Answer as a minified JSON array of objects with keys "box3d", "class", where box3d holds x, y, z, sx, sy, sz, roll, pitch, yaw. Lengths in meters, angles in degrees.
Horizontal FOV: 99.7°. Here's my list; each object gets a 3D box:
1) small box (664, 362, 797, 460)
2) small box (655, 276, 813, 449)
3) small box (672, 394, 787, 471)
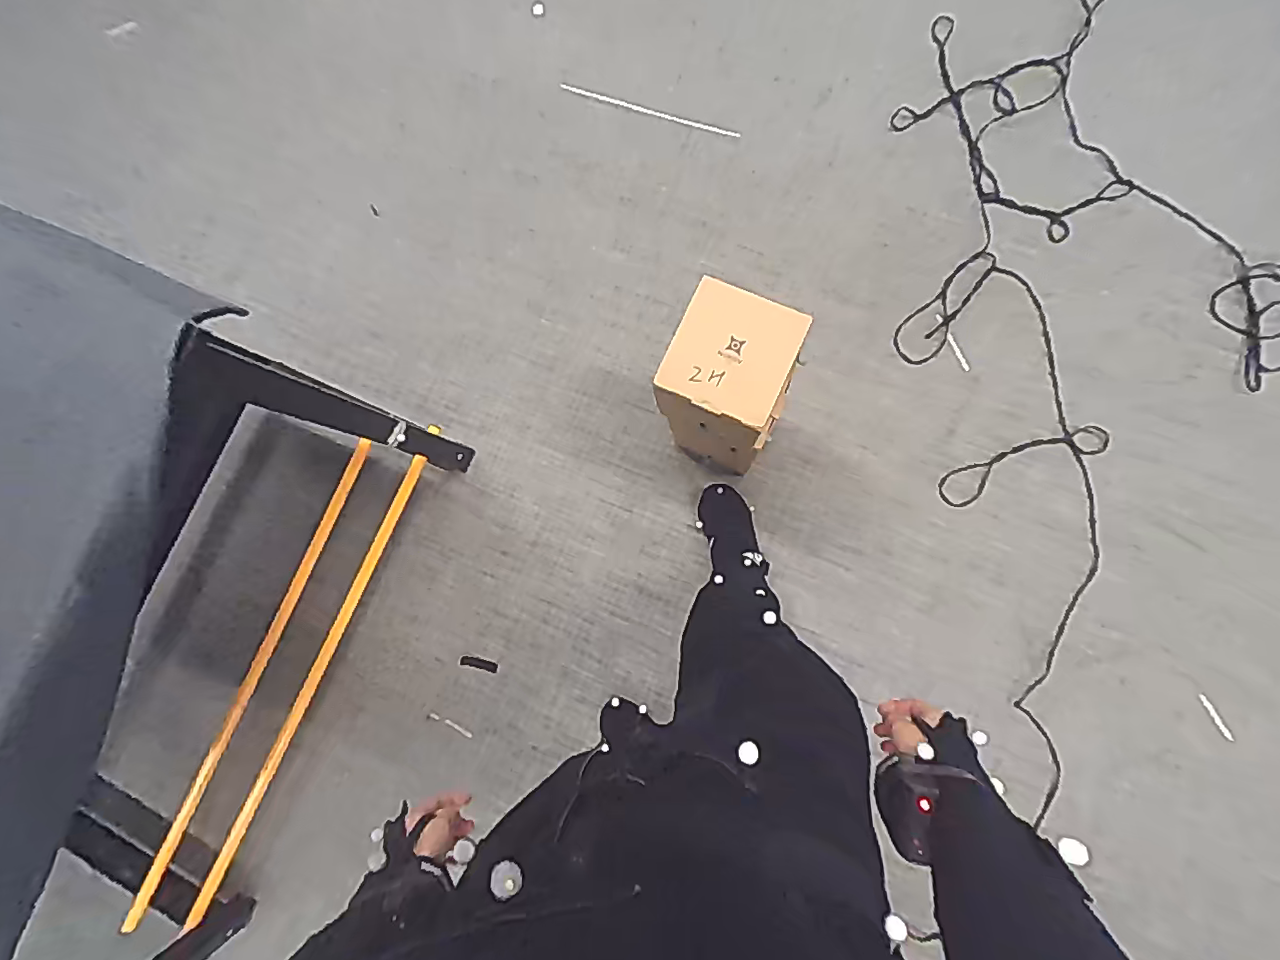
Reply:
[{"box3d":[0.160,-0.144,0.976,0.179,0.176,0.168,23,85,10],"class":"small box"},{"box3d":[0.134,-0.166,0.815,0.168,0.176,0.179,24,87,9],"class":"small box"},{"box3d":[0.181,-0.129,1.136,0.179,0.176,0.168,26,86,7],"class":"small box"}]
